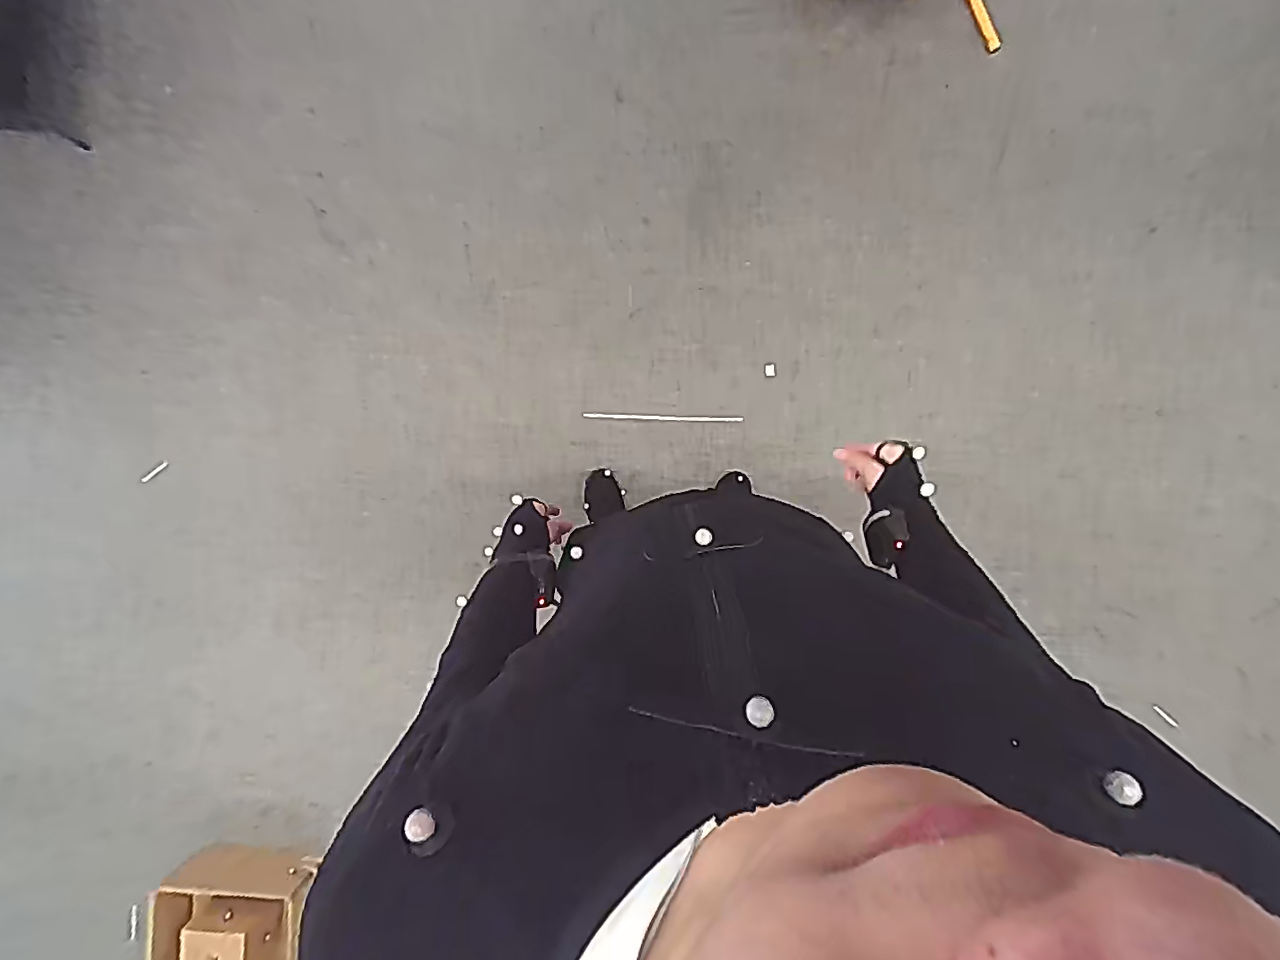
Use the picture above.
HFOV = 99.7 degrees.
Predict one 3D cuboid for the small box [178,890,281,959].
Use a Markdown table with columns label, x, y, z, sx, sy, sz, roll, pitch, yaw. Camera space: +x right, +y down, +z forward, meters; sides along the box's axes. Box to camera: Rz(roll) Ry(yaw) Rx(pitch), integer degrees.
| label | x | y | z | sx | sy | sz | roll | pitch | yaw |
| --- | --- | --- | --- | --- | --- | --- | --- | --- | --- |
| small box | -1.152 | 1.303 | 1.526 | 0.179 | 0.176 | 0.168 | 5 | 91 | 1 |
